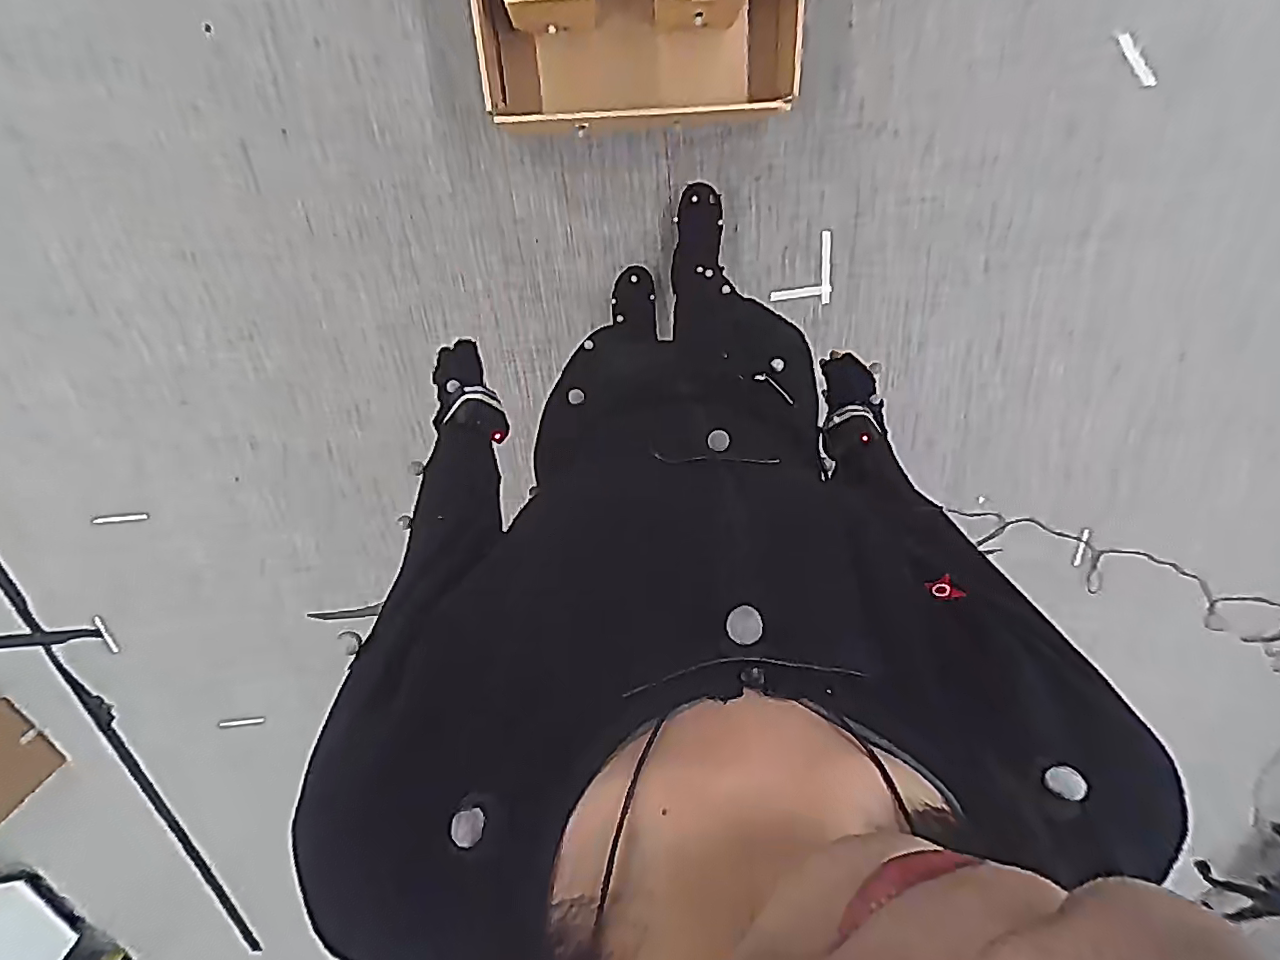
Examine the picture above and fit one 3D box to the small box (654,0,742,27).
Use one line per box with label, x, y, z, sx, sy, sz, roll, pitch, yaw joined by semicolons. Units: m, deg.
small box;0.110;-0.983;1.017;0.168;0.176;0.179;-3;115;0
